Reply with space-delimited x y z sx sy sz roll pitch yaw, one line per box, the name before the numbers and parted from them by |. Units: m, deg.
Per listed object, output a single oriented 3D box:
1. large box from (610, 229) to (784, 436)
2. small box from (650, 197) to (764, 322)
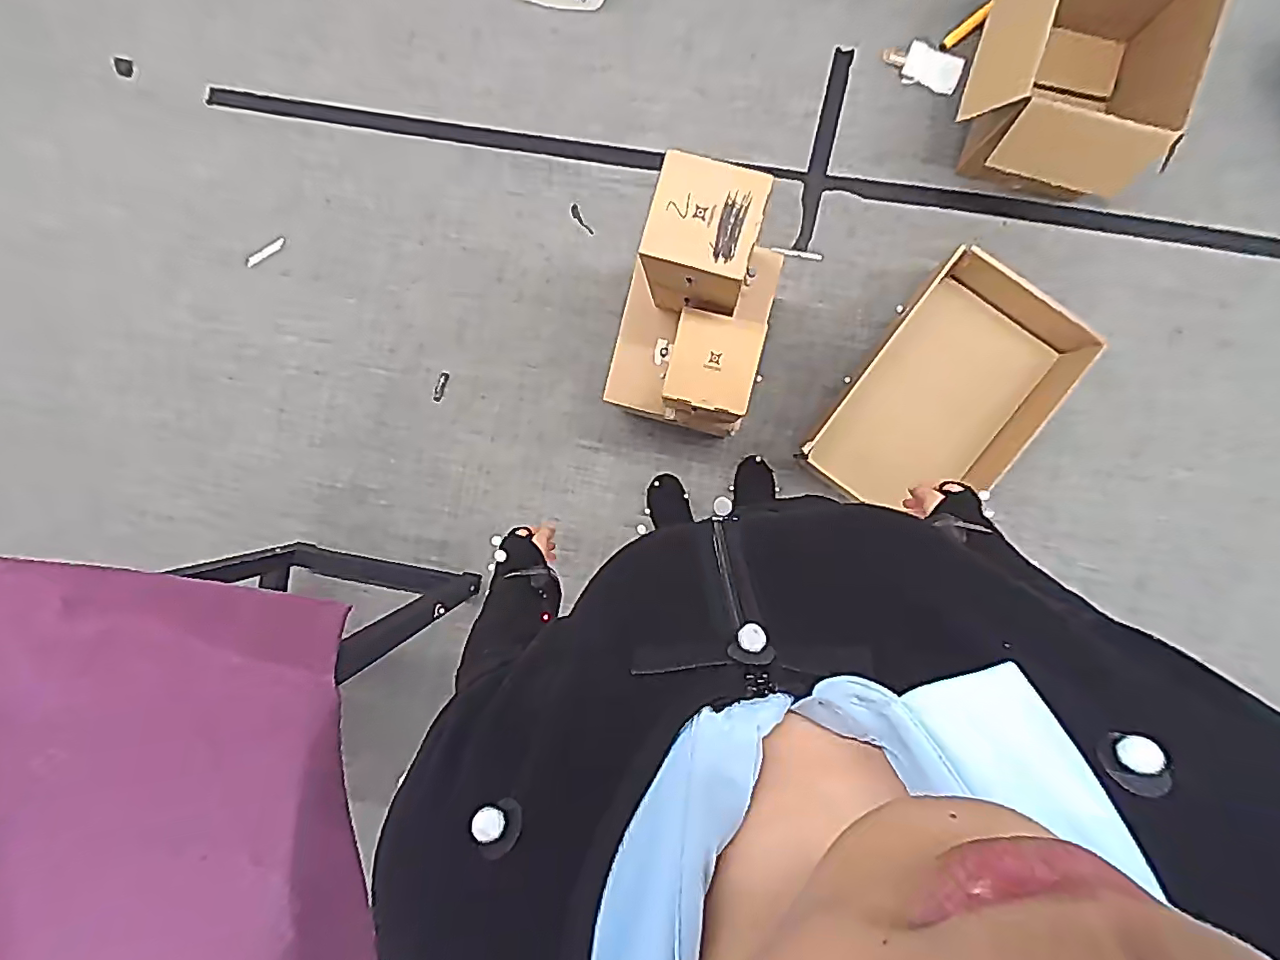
large box | 0.135 -0.337 1.332 0.320 0.320 0.408 14 95 6
small box | 0.130 -0.429 1.080 0.179 0.176 0.168 17 96 4
